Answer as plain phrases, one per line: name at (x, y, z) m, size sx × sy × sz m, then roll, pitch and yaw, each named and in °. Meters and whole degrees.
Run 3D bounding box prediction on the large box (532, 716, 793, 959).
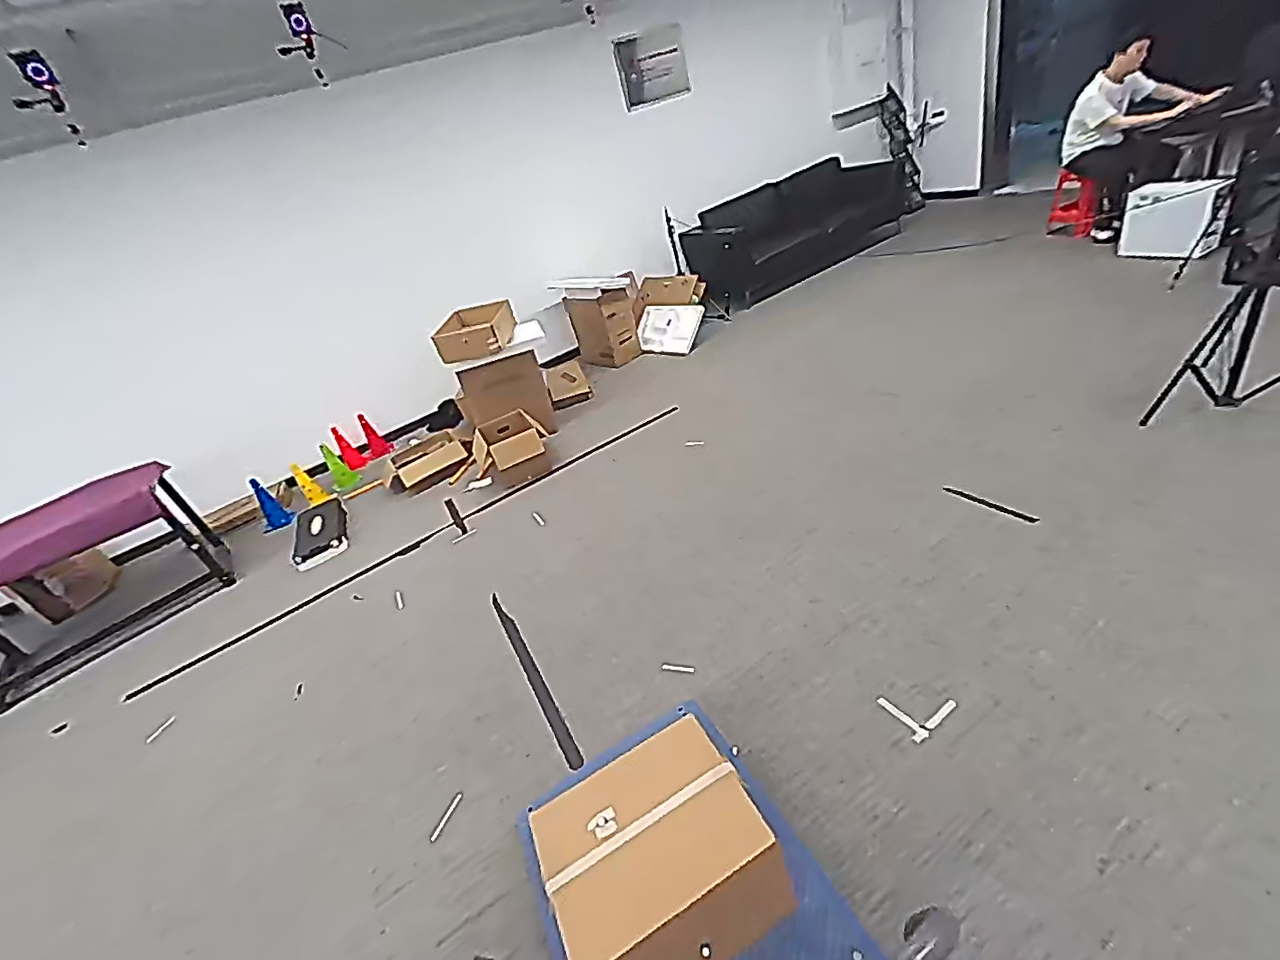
large box at (0.050, 0.797, 1.129) m, size 0.408 × 0.320 × 0.320 m, roll -28°, pitch 31°, yaw -13°
